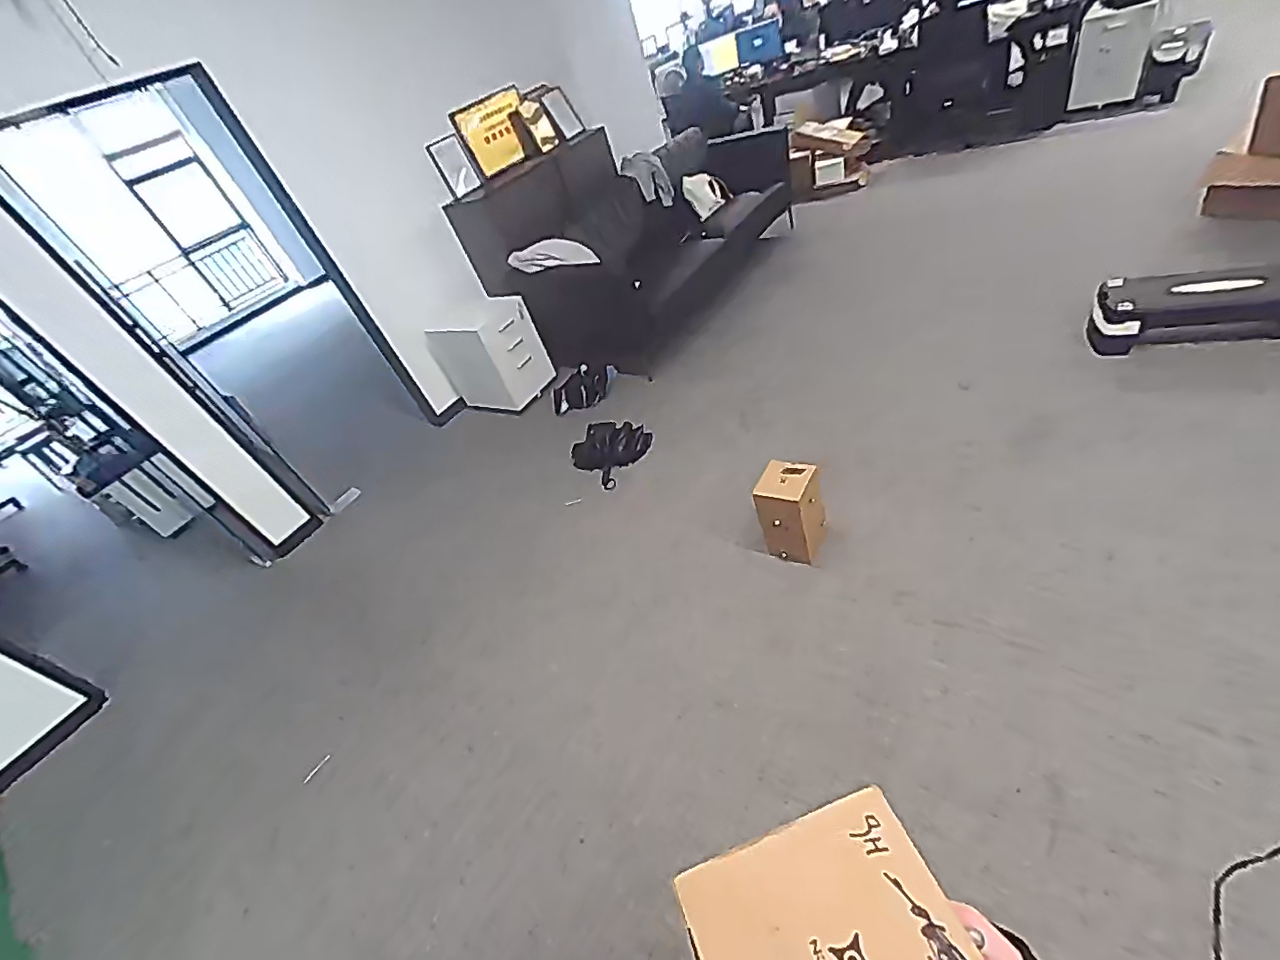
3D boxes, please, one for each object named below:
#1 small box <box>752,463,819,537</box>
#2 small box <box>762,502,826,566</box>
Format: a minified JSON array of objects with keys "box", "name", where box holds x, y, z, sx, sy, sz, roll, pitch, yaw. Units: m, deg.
[{"box":[0.509,0.067,1.864,0.168,0.176,0.179,9,48,36],"name":"small box"},{"box":[0.566,0.183,1.966,0.168,0.176,0.179,10,49,37],"name":"small box"}]
